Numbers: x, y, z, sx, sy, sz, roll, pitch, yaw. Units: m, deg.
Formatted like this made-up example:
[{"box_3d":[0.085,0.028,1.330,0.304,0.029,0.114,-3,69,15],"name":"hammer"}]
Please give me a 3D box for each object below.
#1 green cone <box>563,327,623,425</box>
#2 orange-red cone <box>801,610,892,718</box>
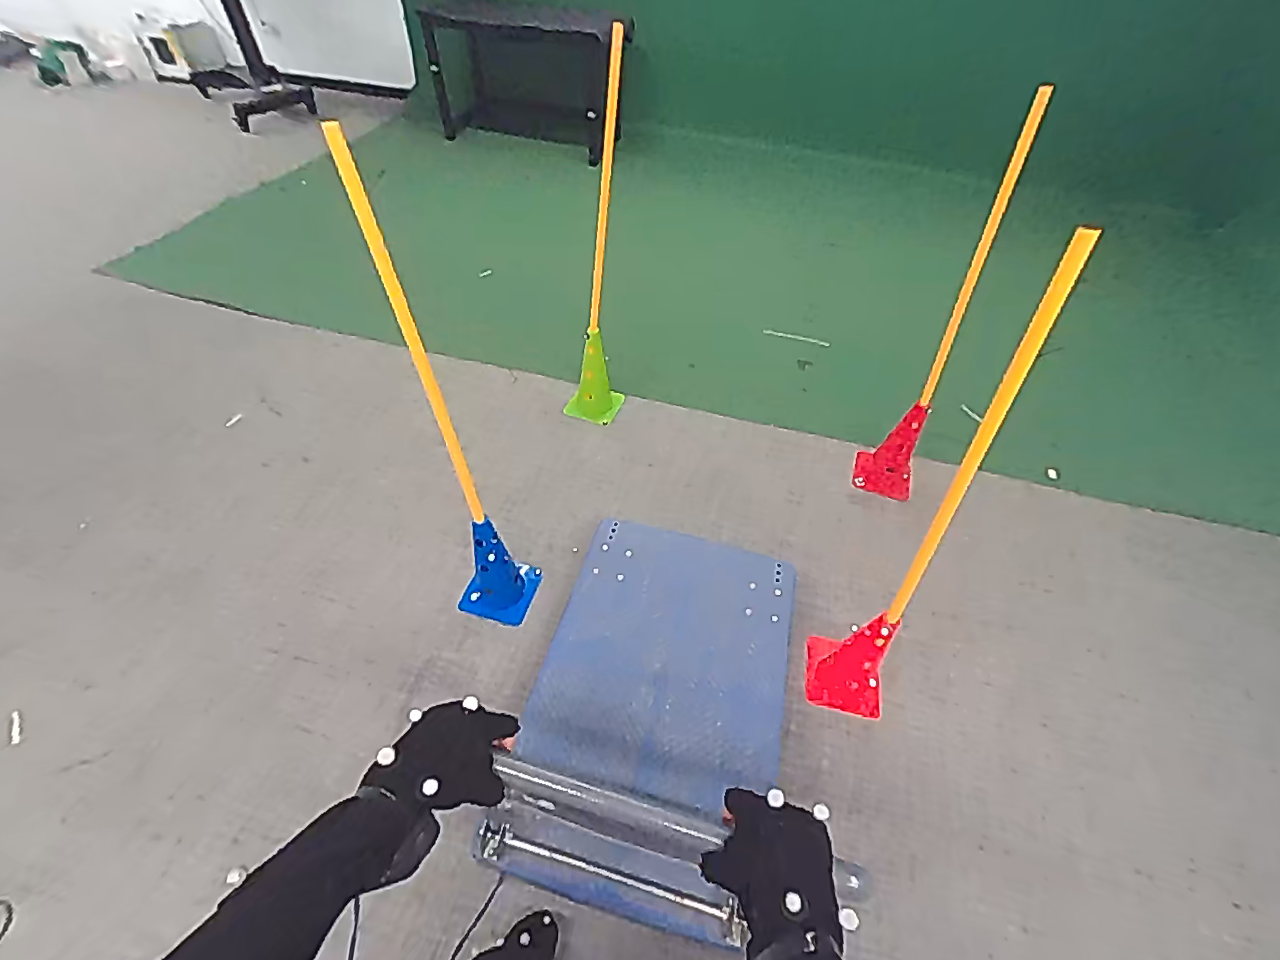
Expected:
[{"box_3d":[-0.181,-0.418,2.068,0.202,0.368,0.200,17,50,11],"name":"green cone"},{"box_3d":[0.559,0.436,1.386,0.199,0.360,0.198,12,49,9],"name":"orange-red cone"}]
